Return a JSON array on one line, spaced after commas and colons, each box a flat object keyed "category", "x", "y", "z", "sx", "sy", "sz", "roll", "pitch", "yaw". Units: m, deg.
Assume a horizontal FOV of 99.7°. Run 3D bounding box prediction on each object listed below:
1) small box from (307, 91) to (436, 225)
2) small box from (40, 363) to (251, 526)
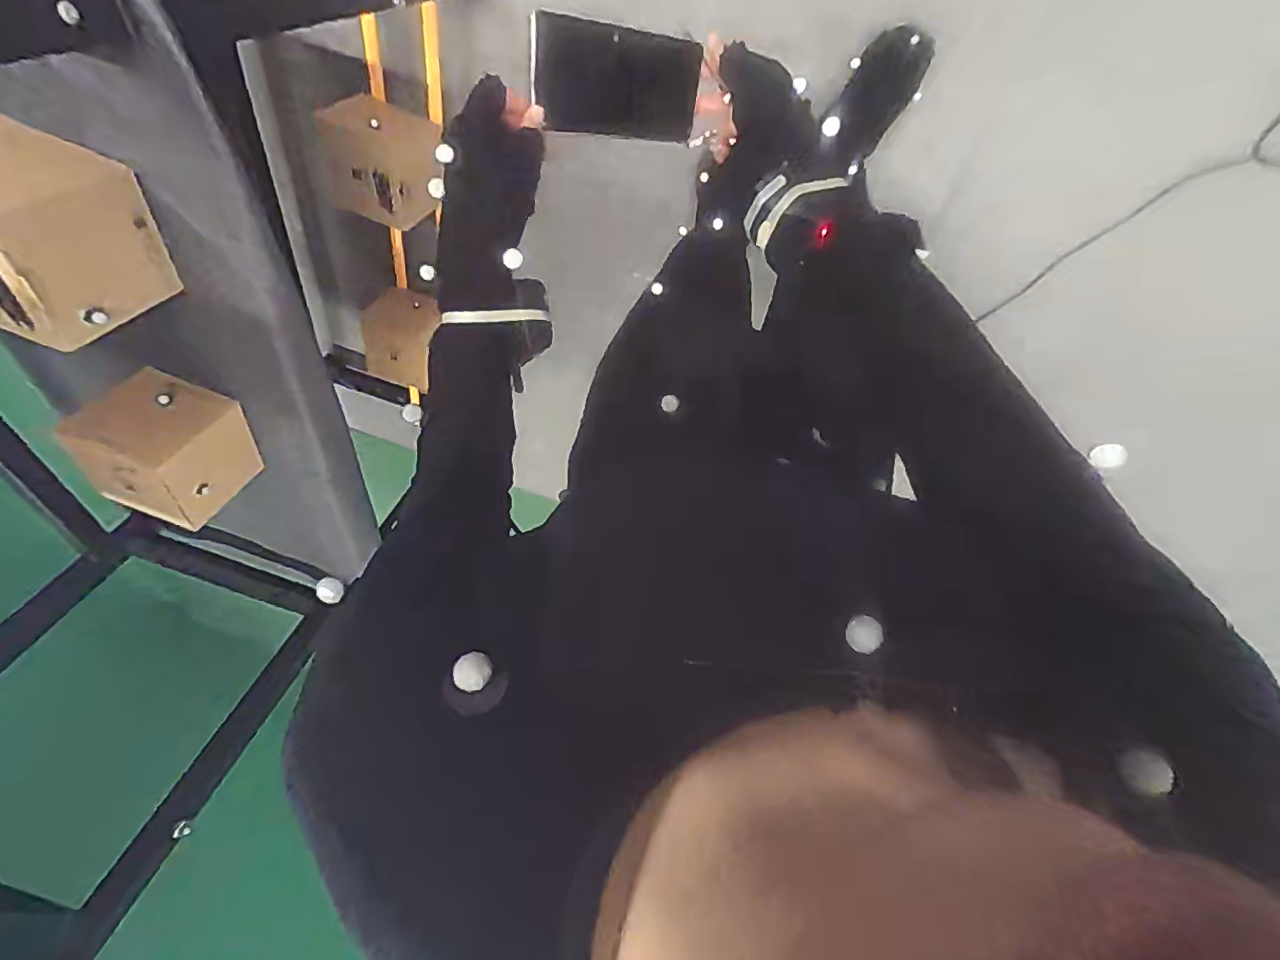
[{"category": "small box", "x": -0.534, "y": -0.661, "z": 1.105, "sx": 0.179, "sy": 0.176, "sz": 0.168, "roll": 22, "pitch": 138, "yaw": -3}, {"category": "small box", "x": -0.796, "y": -0.059, "z": 0.900, "sx": 0.168, "sy": 0.176, "sz": 0.179, "roll": 22, "pitch": 138, "yaw": -3}]
